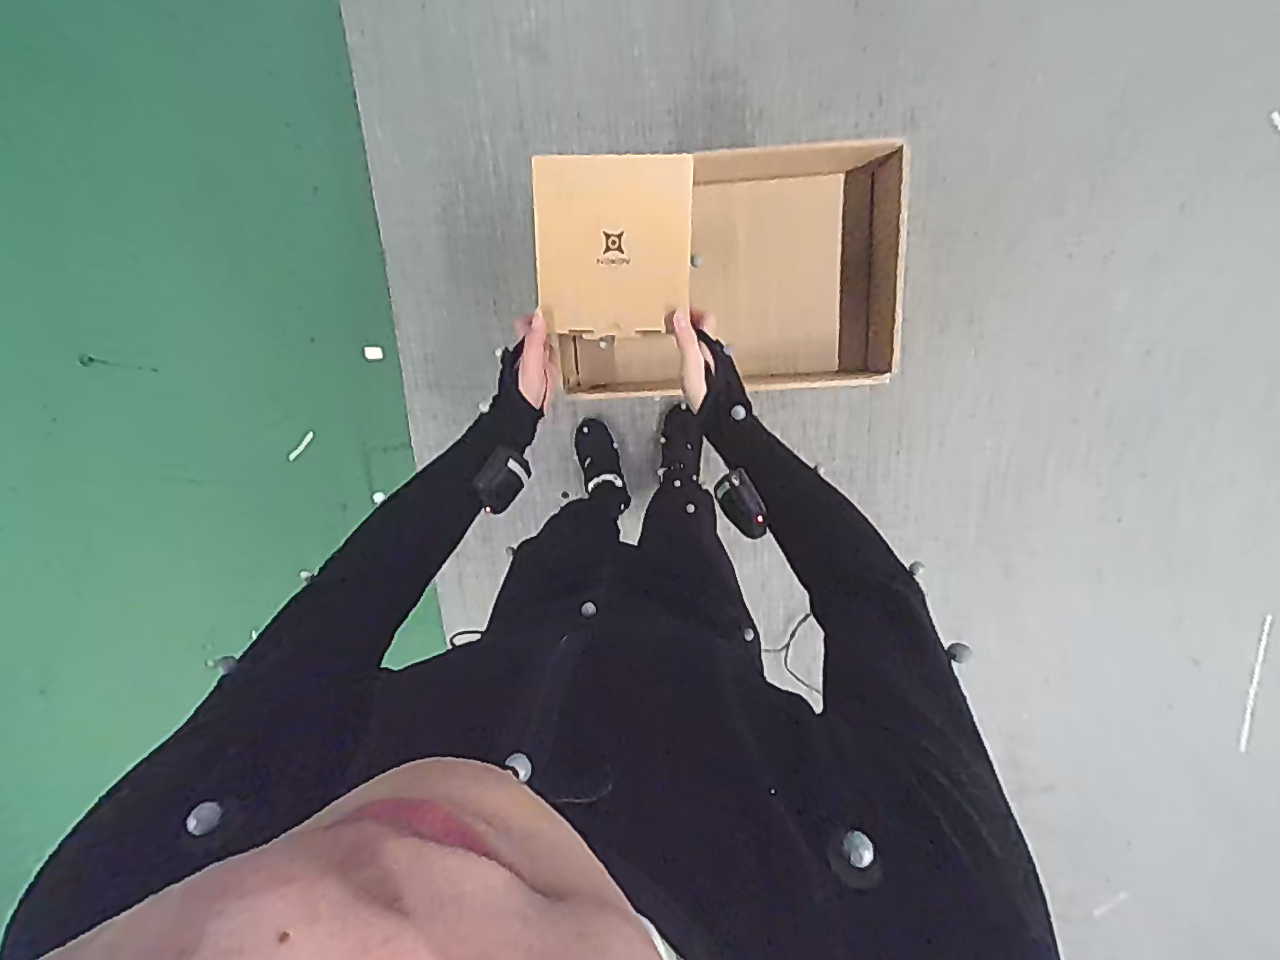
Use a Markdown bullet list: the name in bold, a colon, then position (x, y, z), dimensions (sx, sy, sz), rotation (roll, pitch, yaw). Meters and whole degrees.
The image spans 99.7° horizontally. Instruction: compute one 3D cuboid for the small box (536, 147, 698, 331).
- **small box**: position (-0.024, -0.268, 0.637), dimensions (0.168, 0.176, 0.179), rotation (0, 106, 1)
